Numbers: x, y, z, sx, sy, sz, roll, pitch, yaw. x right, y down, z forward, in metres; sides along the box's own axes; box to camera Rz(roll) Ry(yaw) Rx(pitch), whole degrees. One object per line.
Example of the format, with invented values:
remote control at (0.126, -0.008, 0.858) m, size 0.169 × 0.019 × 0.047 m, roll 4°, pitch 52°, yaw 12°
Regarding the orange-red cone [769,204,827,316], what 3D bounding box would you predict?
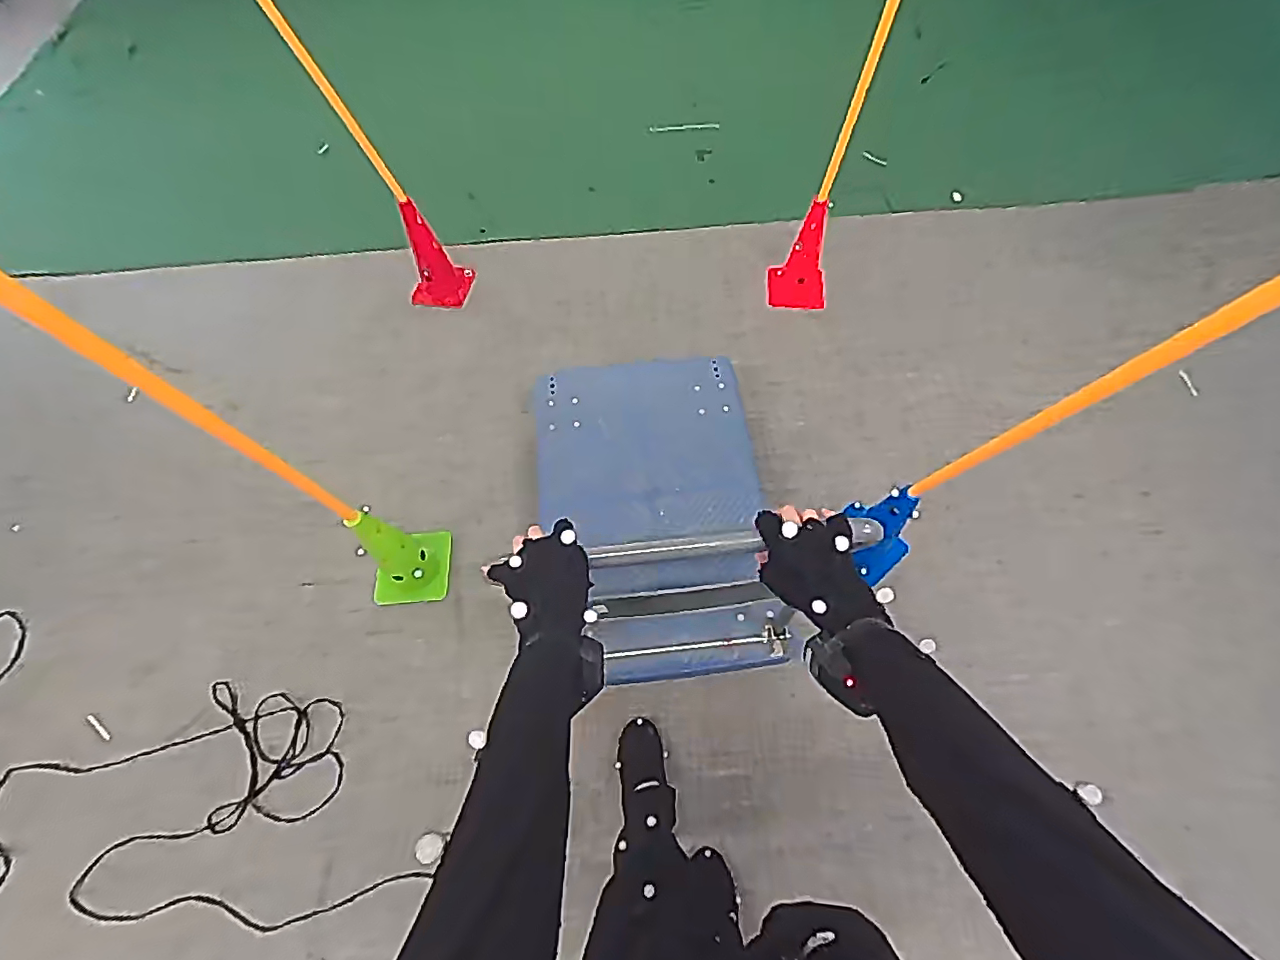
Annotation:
orange-red cone at (0.563, -0.748, 1.806) m, size 0.198 × 0.360 × 0.199 m, roll 6°, pitch 64°, yaw 6°
